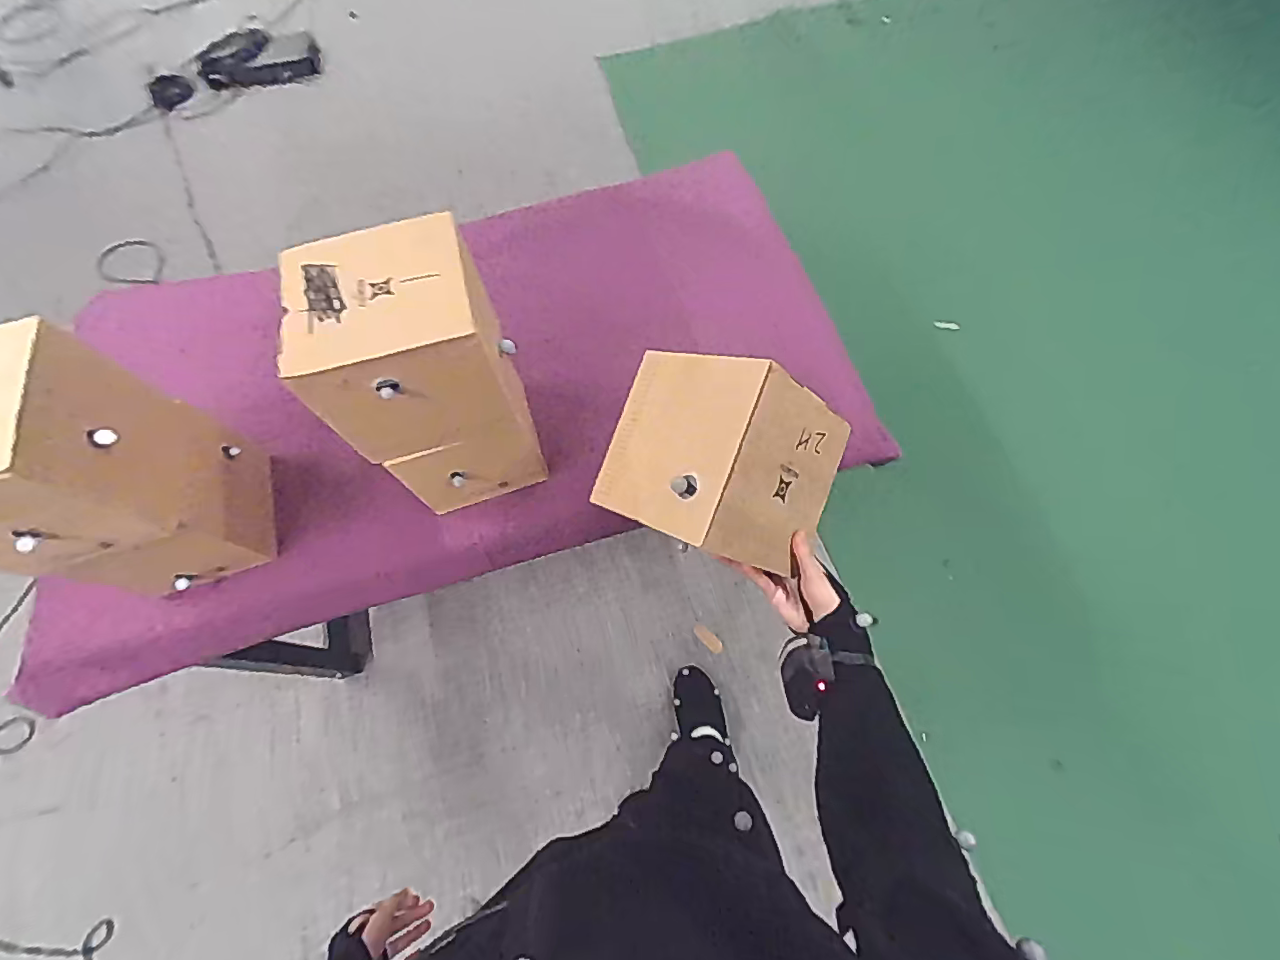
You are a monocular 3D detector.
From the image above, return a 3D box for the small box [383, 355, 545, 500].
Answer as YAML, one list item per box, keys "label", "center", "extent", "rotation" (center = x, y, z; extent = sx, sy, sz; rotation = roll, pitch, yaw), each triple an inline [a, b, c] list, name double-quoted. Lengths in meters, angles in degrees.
- label: "small box"
  center: [-0.239, -0.088, 0.734]
  extent: [0.168, 0.176, 0.179]
  rotation: [-19, 66, -5]

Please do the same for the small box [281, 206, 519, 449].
- label: "small box"
  center: [-0.247, -0.153, 0.584]
  extent: [0.179, 0.176, 0.168]
  rotation: [-15, 66, -4]

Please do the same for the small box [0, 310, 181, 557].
- label: "small box"
  center: [-0.613, -0.033, 0.548]
  extent: [0.168, 0.176, 0.179]
  rotation: [-17, 68, -5]

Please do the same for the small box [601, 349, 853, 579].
- label: "small box"
  center: [0.084, -0.020, 0.564]
  extent: [0.176, 0.168, 0.179]
  rotation: [20, 88, 45]

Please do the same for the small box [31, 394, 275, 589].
- label: "small box"
  center: [-0.611, 0.023, 0.702]
  extent: [0.168, 0.176, 0.179]
  rotation: [-18, 68, -5]
